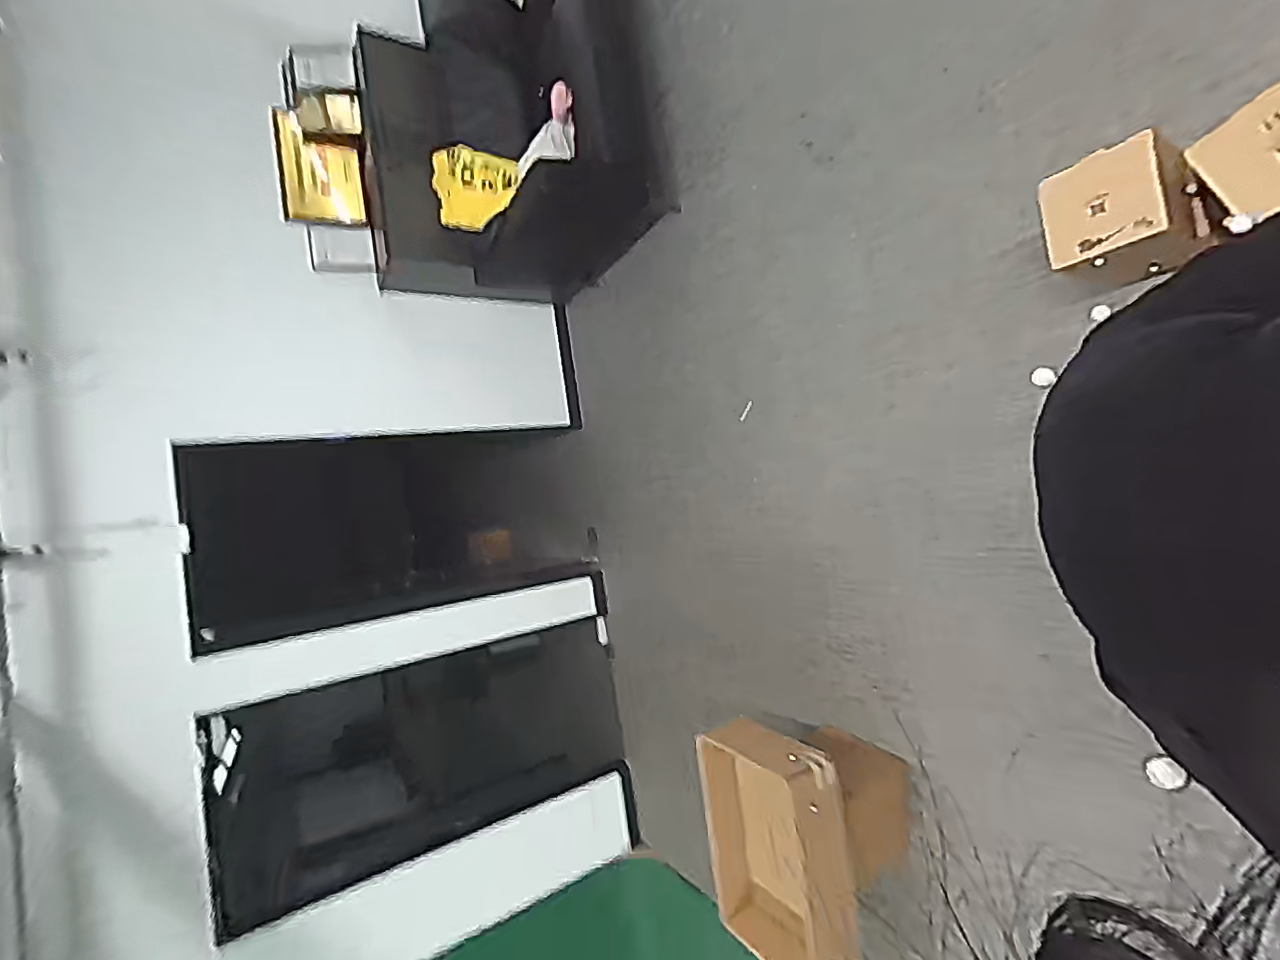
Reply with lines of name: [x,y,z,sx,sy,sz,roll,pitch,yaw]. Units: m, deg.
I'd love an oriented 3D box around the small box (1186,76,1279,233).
small box: [0.988,-0.492,0.801,0.168,0.176,0.179,-44,58,53]

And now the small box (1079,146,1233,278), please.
small box: [1.016,-0.516,1.064,0.179,0.176,0.168,-15,83,59]
